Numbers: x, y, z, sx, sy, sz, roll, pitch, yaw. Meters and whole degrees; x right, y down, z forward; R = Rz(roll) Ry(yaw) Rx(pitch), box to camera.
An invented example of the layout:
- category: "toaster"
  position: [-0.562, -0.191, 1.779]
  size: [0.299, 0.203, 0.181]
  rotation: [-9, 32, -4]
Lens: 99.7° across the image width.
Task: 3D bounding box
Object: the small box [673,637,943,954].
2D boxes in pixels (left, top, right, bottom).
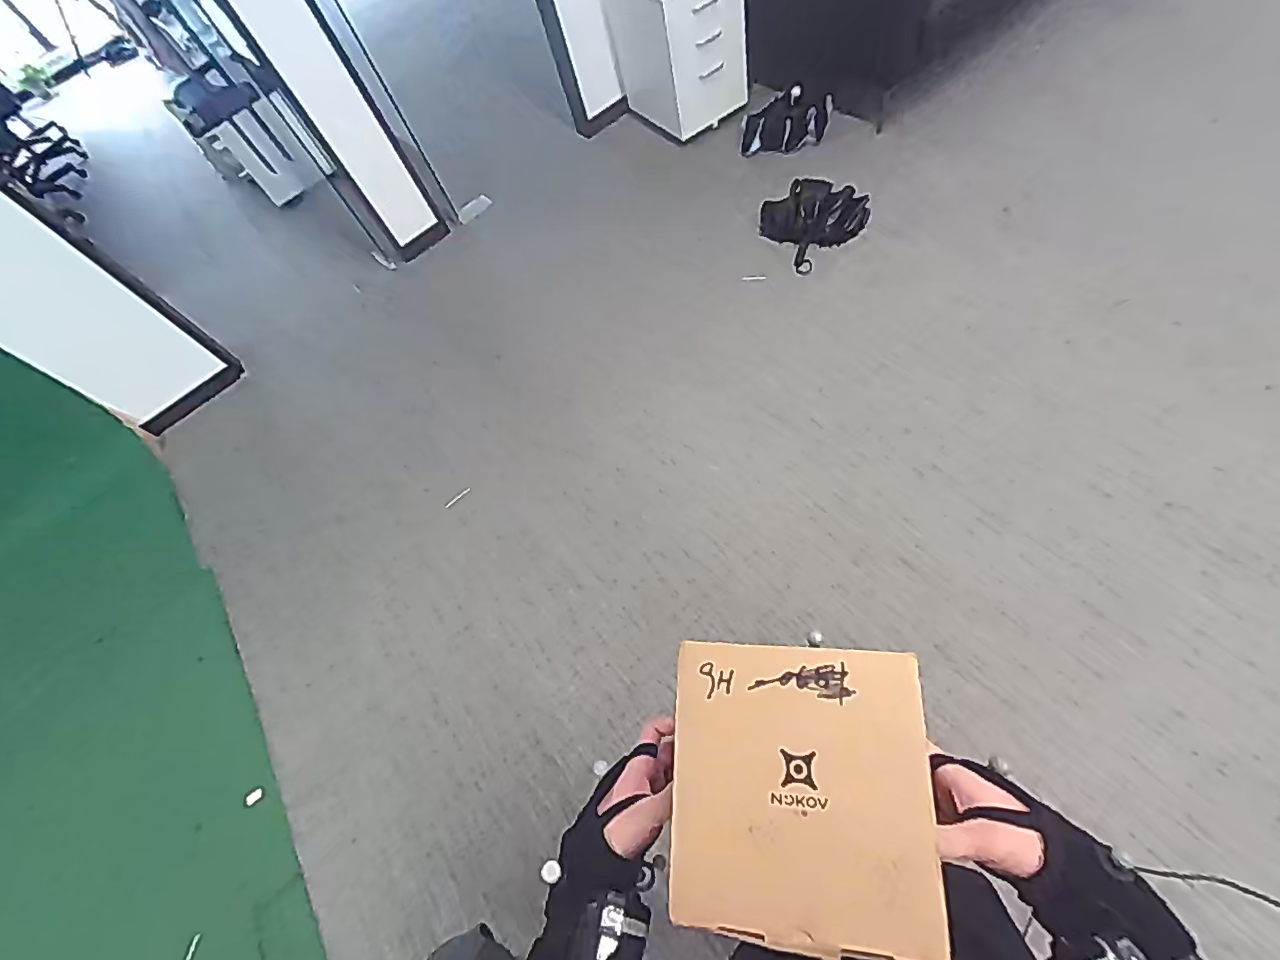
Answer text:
- category: "small box"
  position: [0.123, 0.226, 0.437]
  size: [0.168, 0.176, 0.179]
  rotation: [-1, 70, 11]
